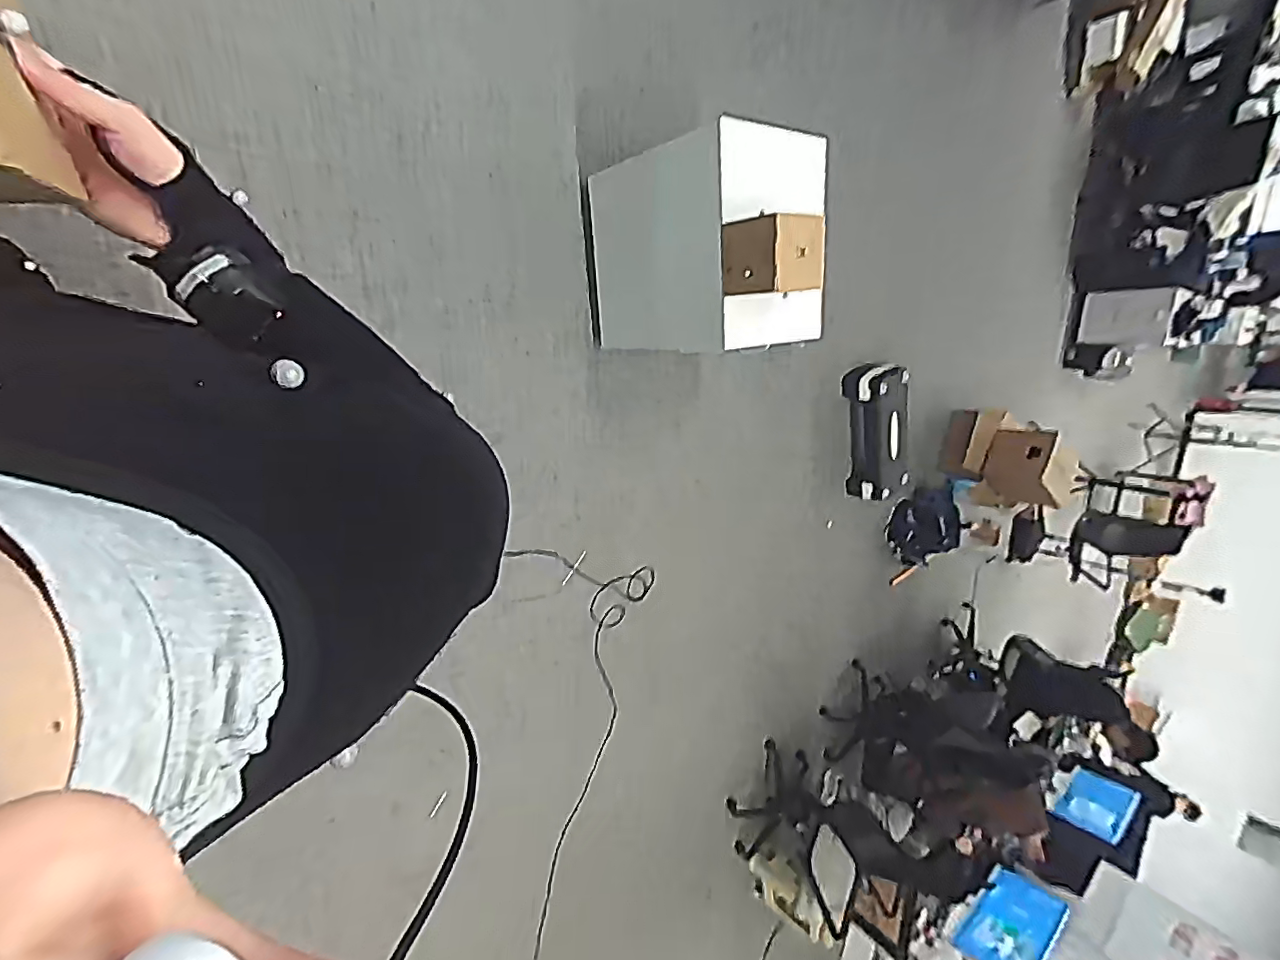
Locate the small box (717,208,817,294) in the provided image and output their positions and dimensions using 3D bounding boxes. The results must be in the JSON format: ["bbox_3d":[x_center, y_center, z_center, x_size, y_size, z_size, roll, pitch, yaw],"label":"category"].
[{"bbox_3d":[0.293,-0.531,1.269,0.179,0.176,0.168,-19,114,-36],"label":"small box"}]

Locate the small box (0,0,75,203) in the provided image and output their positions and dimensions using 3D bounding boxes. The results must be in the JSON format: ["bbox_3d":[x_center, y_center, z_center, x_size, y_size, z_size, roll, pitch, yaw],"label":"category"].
[{"bbox_3d":[-0.419,-0.237,0.249,0.168,0.176,0.179,-16,116,-31],"label":"small box"}]
